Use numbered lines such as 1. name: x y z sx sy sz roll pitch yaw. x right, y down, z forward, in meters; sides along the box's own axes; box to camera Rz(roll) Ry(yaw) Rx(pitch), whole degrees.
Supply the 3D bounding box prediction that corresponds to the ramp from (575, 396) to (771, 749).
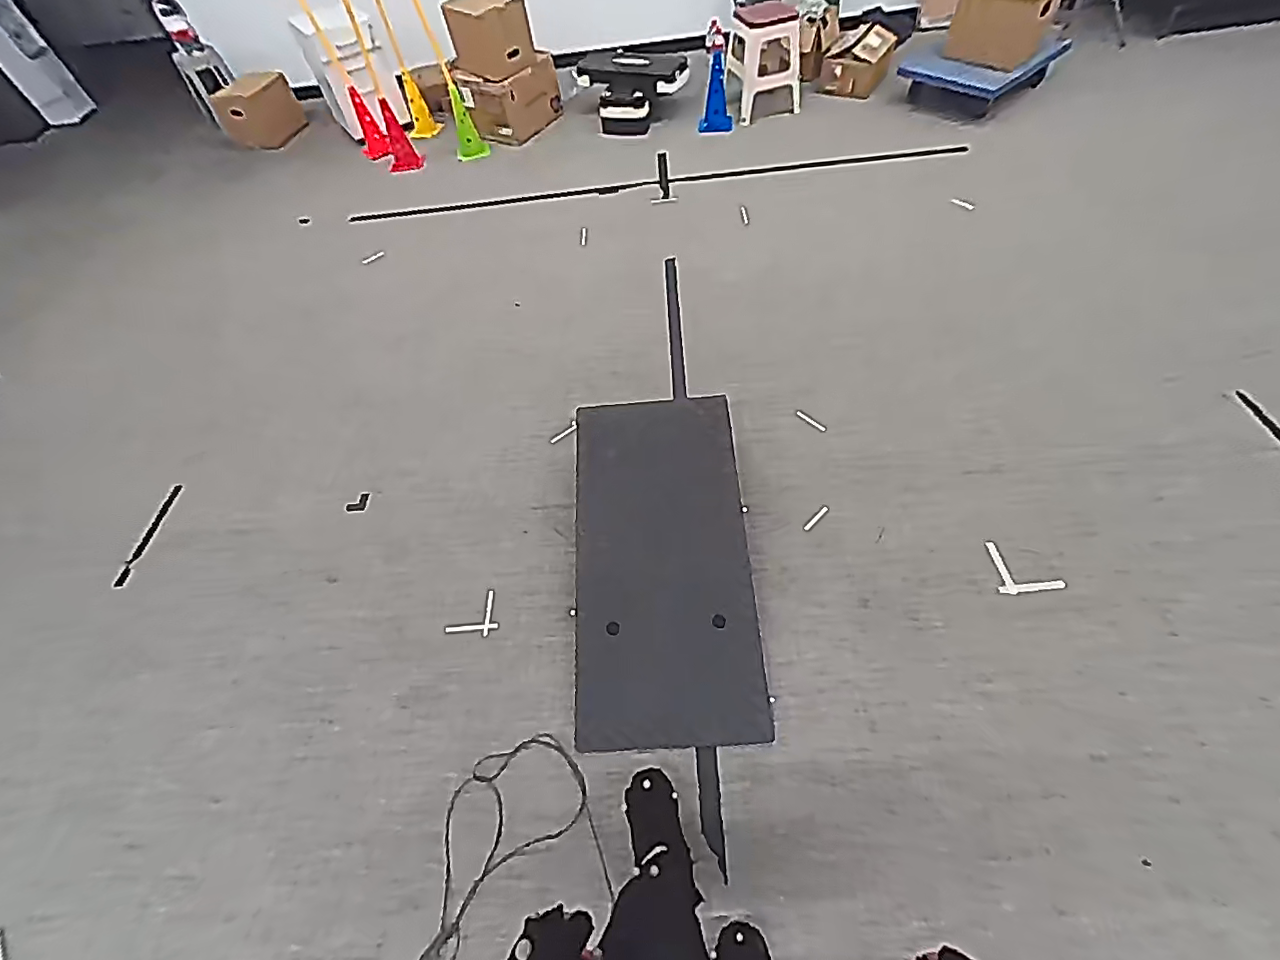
1. ramp: 0.059 0.201 1.544 0.509 0.206 0.991 -6 54 1
